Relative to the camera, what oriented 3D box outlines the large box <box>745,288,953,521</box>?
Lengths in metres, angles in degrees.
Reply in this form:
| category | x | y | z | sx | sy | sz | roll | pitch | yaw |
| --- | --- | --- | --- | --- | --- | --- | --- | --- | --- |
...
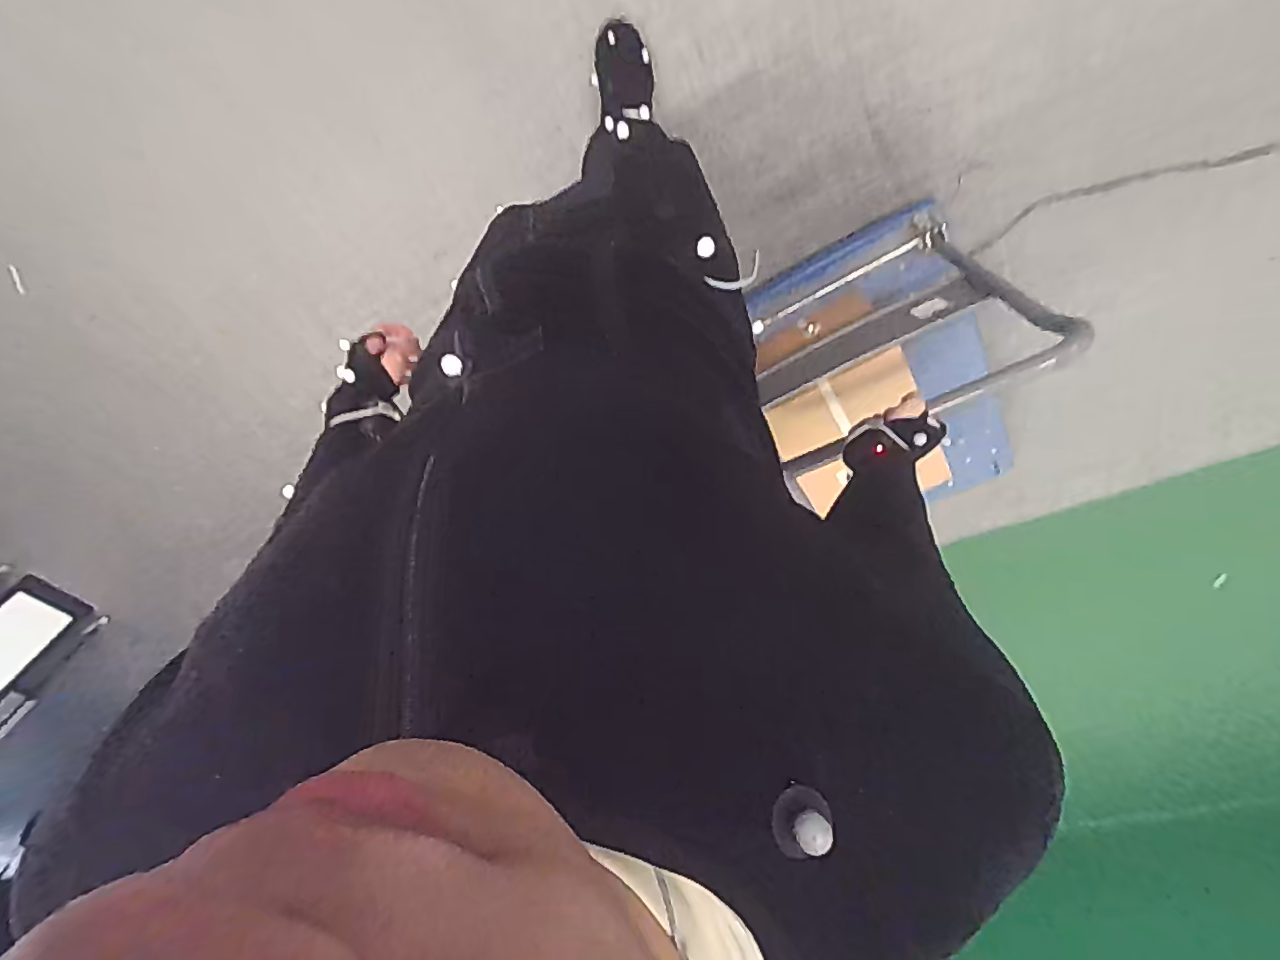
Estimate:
| category | x | y | z | sx | sy | sz | roll | pitch | yaw |
| --- | --- | --- | --- | --- | --- | --- | --- | --- | --- |
| large box | 0.499 | -0.179 | 1.330 | 0.320 | 0.320 | 0.408 | -26 | 124 | 23 |
